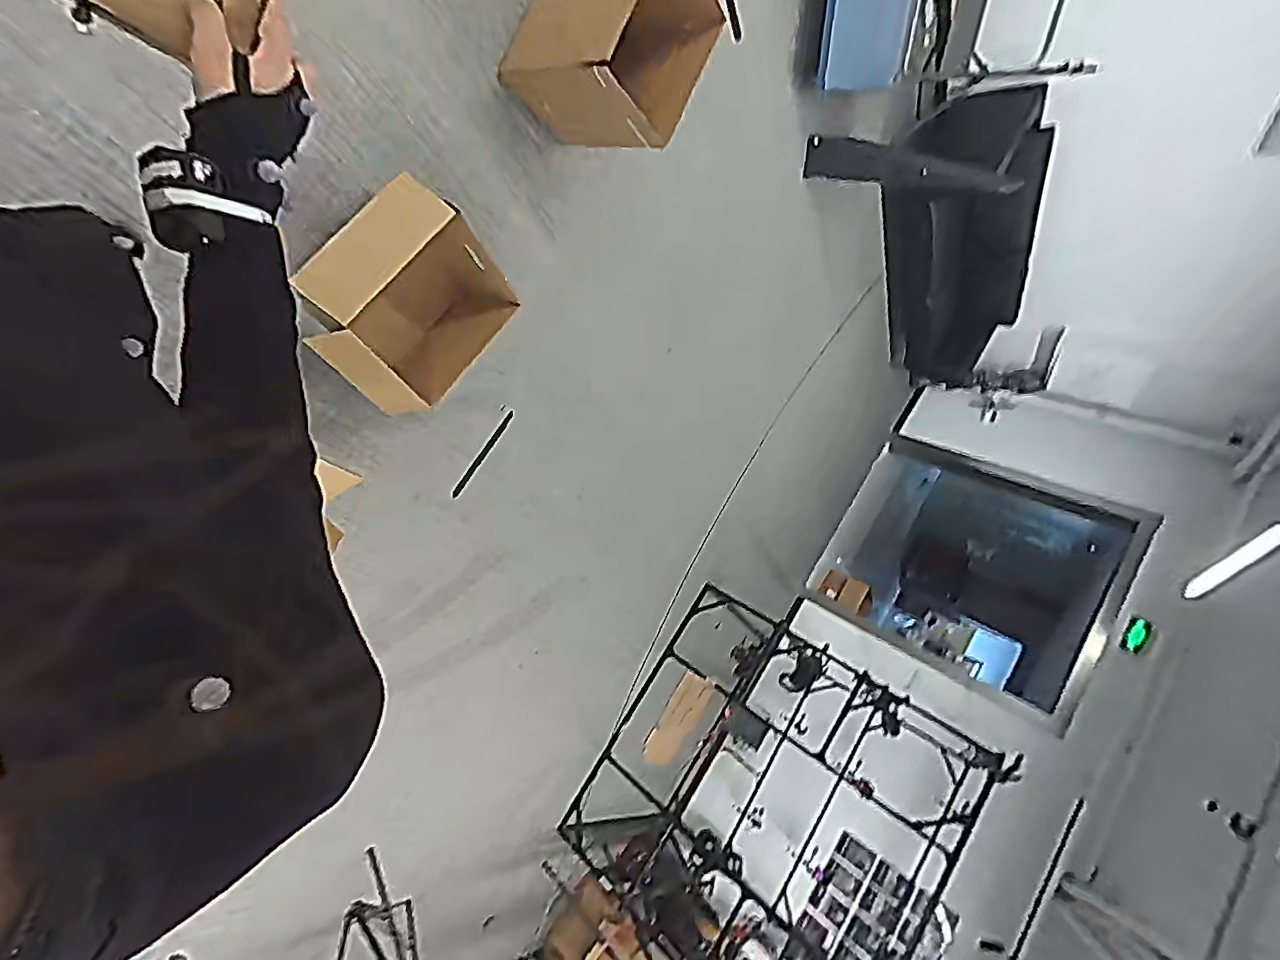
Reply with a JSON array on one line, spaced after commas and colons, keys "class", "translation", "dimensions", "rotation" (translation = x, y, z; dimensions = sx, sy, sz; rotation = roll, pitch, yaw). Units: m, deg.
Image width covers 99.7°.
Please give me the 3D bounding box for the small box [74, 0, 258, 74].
[{"class": "small box", "translation": [-0.409, -0.458, 0.423], "dimensions": [0.179, 0.176, 0.168], "rotation": [11, 112, -48]}]
